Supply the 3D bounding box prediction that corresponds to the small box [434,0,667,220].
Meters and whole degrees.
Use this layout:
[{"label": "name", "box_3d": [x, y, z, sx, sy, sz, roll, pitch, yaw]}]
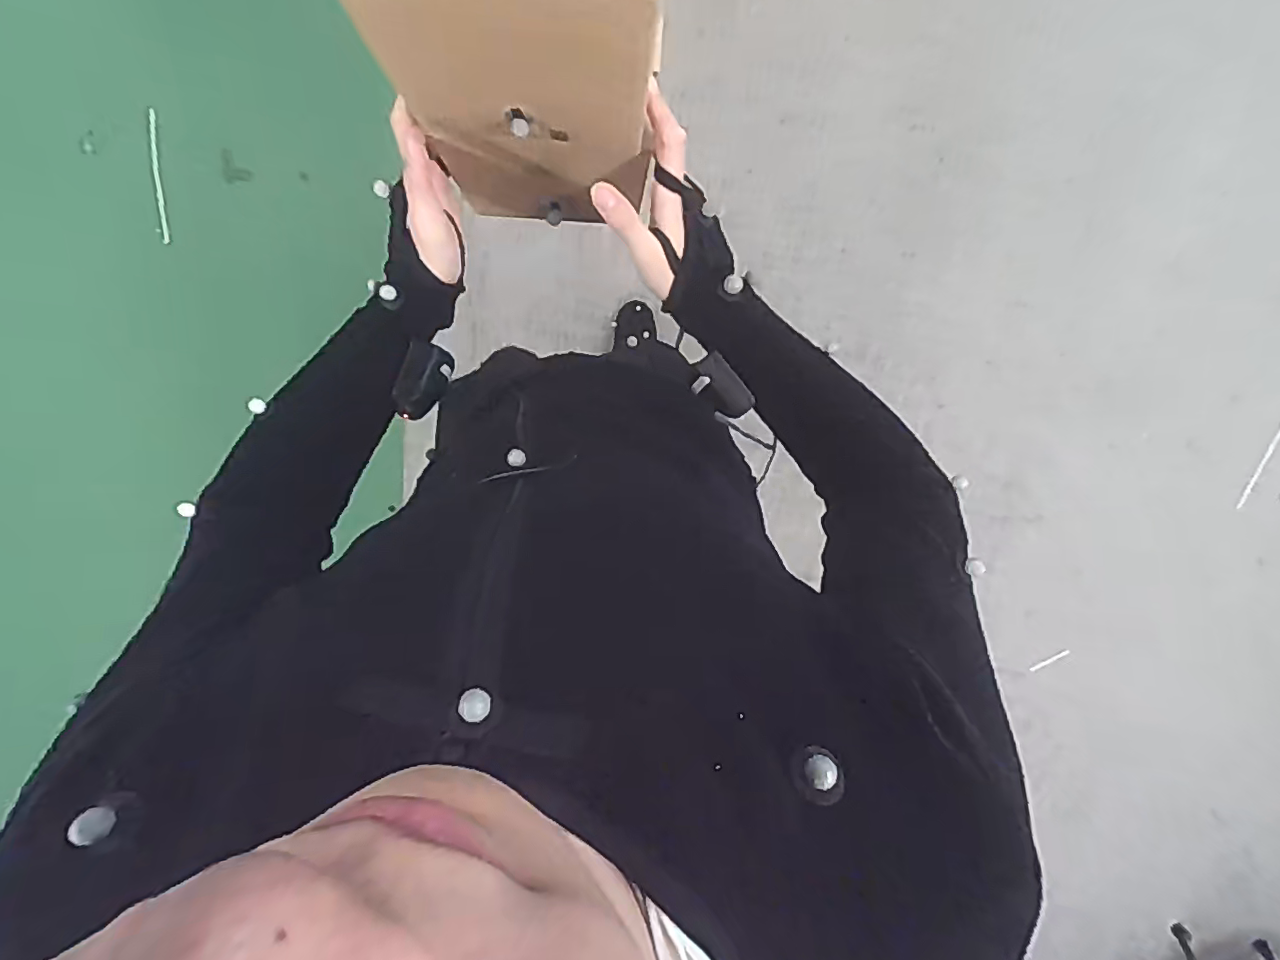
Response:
[{"label": "small box", "box_3d": [-0.075, -0.354, 0.492, 0.179, 0.176, 0.168, 2, 96, -5]}]
